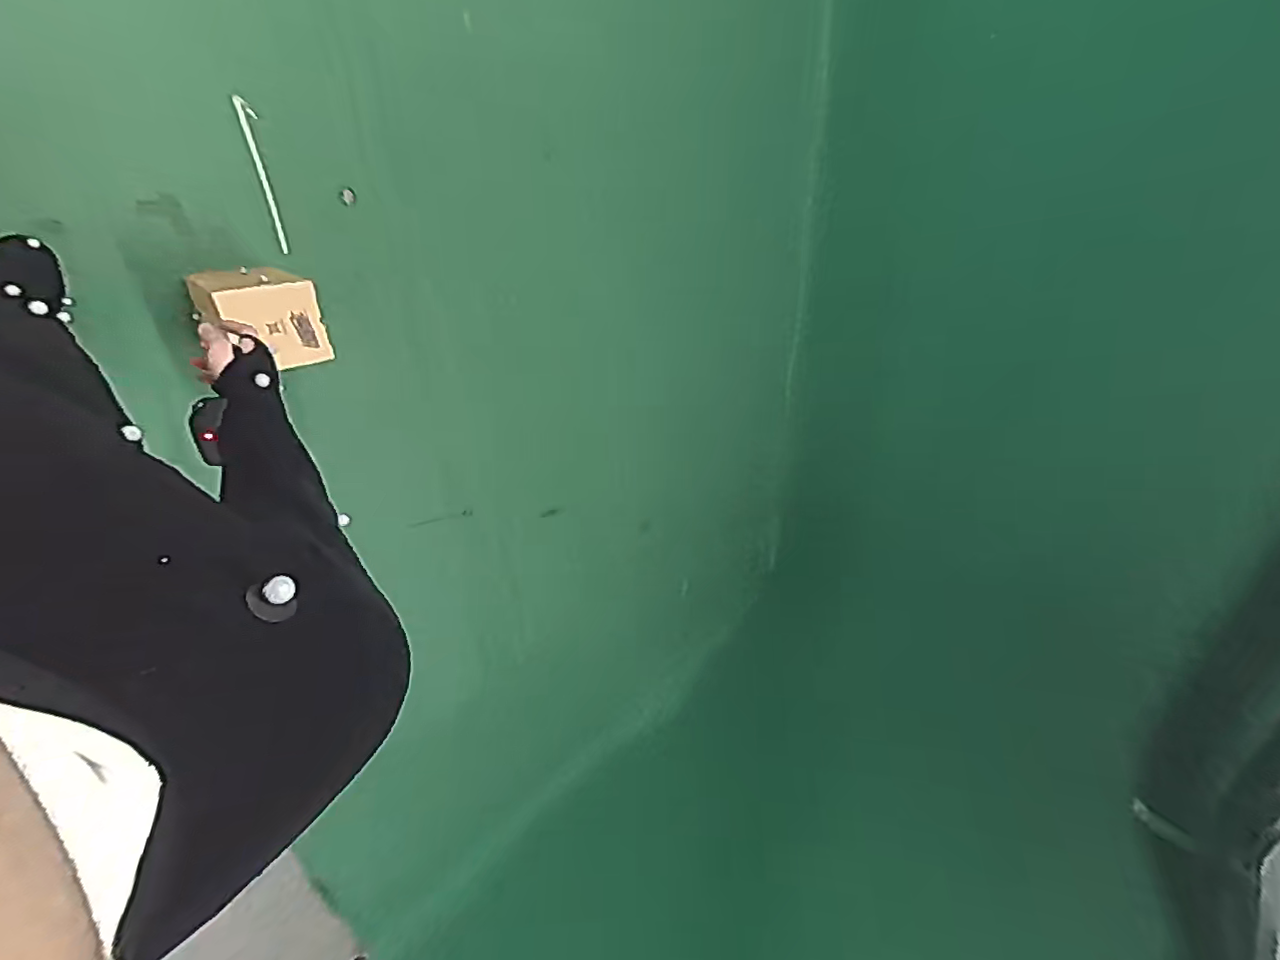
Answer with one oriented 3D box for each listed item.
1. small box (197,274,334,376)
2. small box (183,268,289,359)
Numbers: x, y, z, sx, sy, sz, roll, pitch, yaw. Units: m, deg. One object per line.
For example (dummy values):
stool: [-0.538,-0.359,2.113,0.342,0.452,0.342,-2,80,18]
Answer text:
small box: [-0.786,-0.334,1.139,0.179,0.176,0.168,-26,127,-37]
small box: [-0.902,-0.389,1.242,0.179,0.176,0.168,-26,127,-37]
